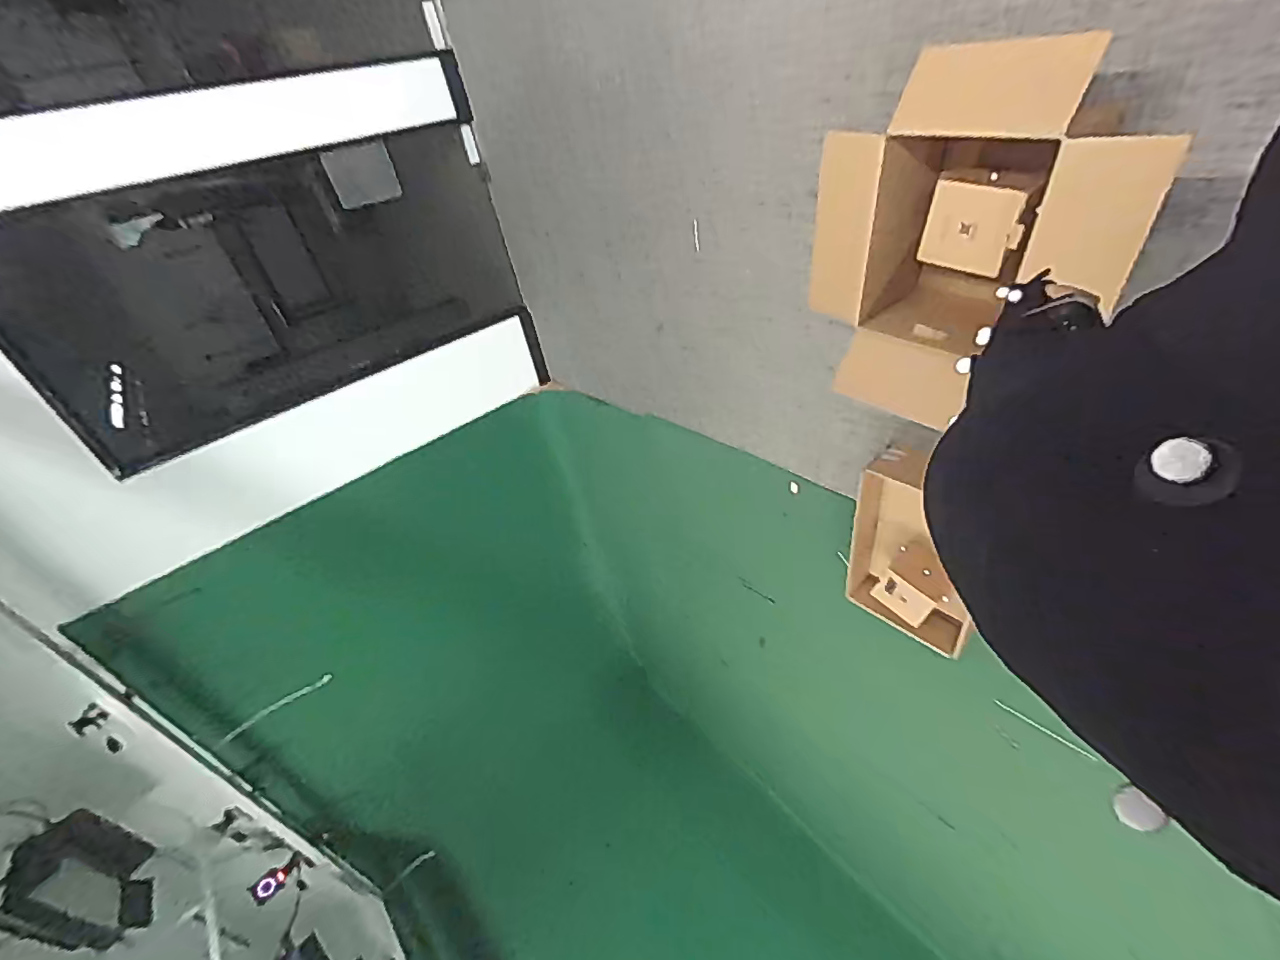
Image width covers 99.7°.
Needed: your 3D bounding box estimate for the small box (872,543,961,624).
[{"bbox_3d":[0.917,0.334,1.797,0.179,0.176,0.168,41,148,29],"label":"small box"}]
